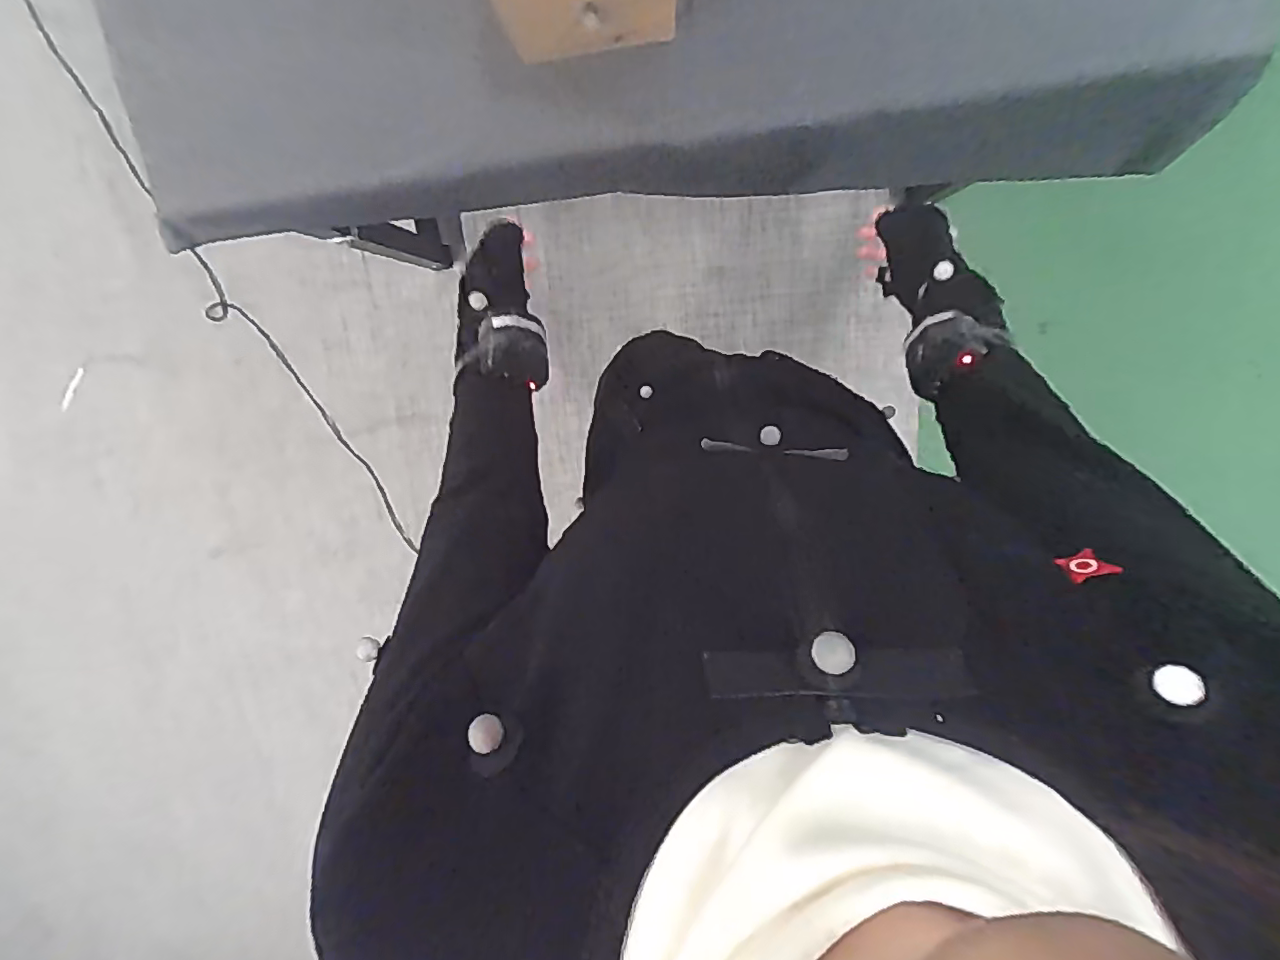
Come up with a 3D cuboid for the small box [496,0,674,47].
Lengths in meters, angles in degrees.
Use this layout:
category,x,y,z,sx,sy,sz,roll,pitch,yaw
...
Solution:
category,x,y,z,sx,sy,sz,roll,pitch,yaw
small box,-0.059,-0.520,0.474,0.168,0.176,0.179,-6,105,5
